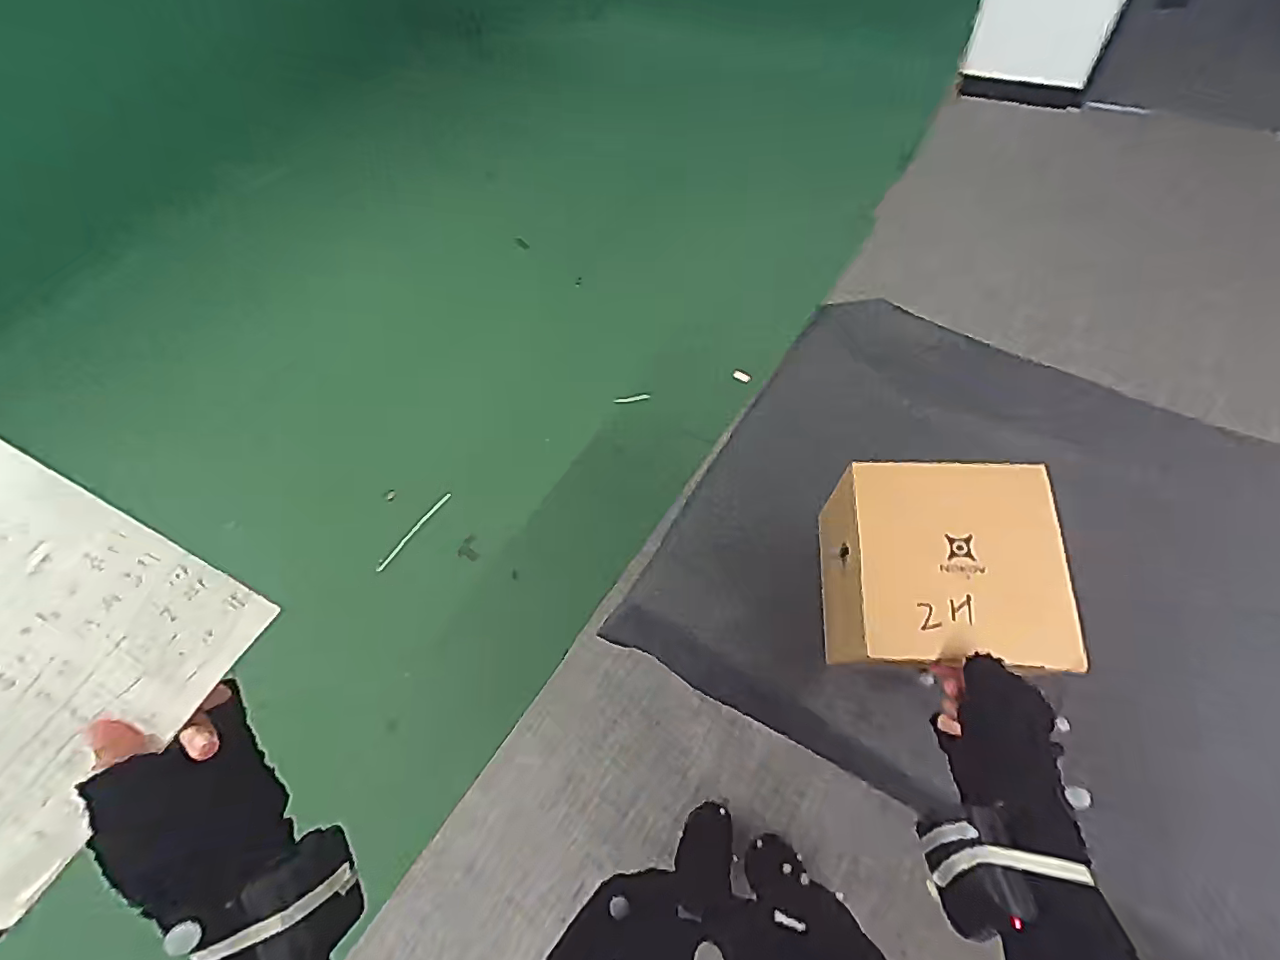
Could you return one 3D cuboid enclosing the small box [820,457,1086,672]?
[{"bbox_3d":[0.281,0.090,0.535,0.168,0.176,0.179,0,69,8],"label":"small box"}]
